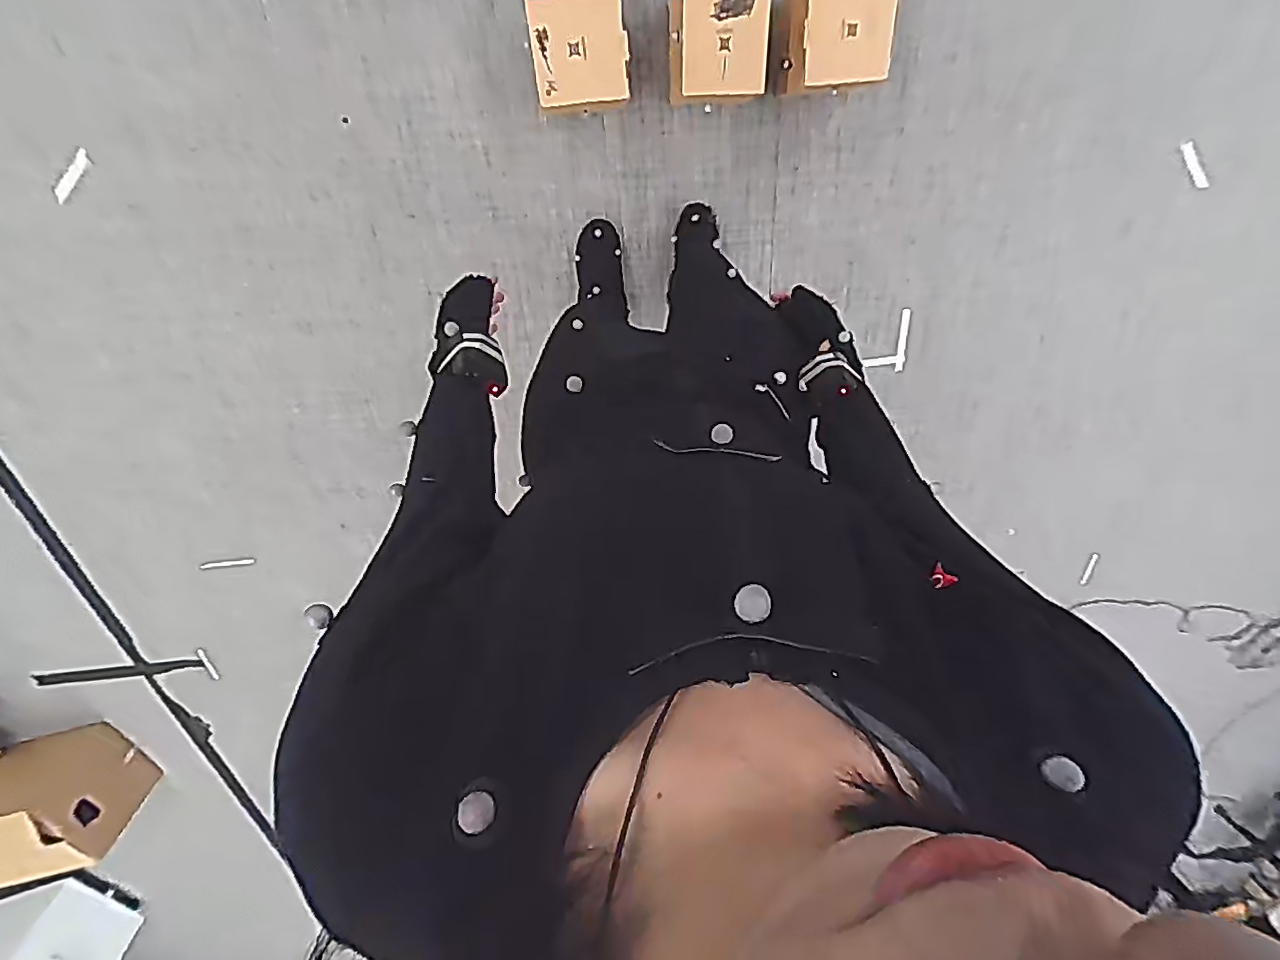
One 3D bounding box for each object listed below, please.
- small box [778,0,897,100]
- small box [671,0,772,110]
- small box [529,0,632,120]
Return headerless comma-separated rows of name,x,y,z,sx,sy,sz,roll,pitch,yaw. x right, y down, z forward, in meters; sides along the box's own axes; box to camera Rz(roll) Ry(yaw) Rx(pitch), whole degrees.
small box,0.392,-0.887,1.100,0.179,0.176,0.168,-8,121,-3
small box,0.155,-0.859,1.087,0.168,0.176,0.179,-4,120,-4
small box,-0.117,-0.828,1.076,0.179,0.176,0.168,-7,119,-3
